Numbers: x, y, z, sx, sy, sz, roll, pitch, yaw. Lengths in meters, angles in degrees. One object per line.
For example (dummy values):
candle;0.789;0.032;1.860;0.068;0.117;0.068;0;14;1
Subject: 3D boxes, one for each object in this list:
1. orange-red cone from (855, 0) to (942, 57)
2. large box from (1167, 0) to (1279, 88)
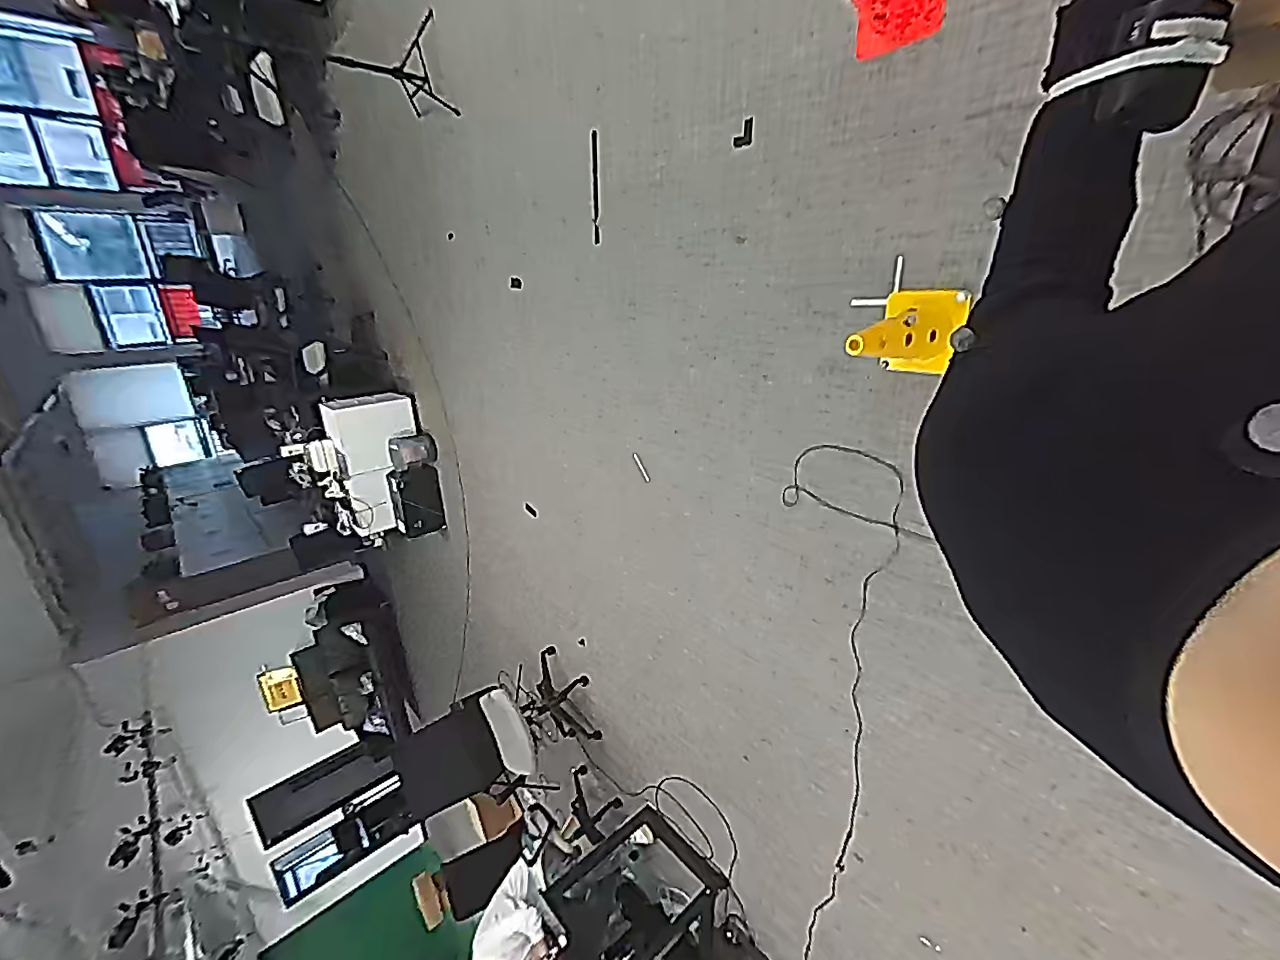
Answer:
orange-red cone;0.461;-1.058;1.124;0.198;0.360;0.199;18;120;46
large box;0.575;-0.434;0.253;0.408;0.320;0.320;20;124;44
